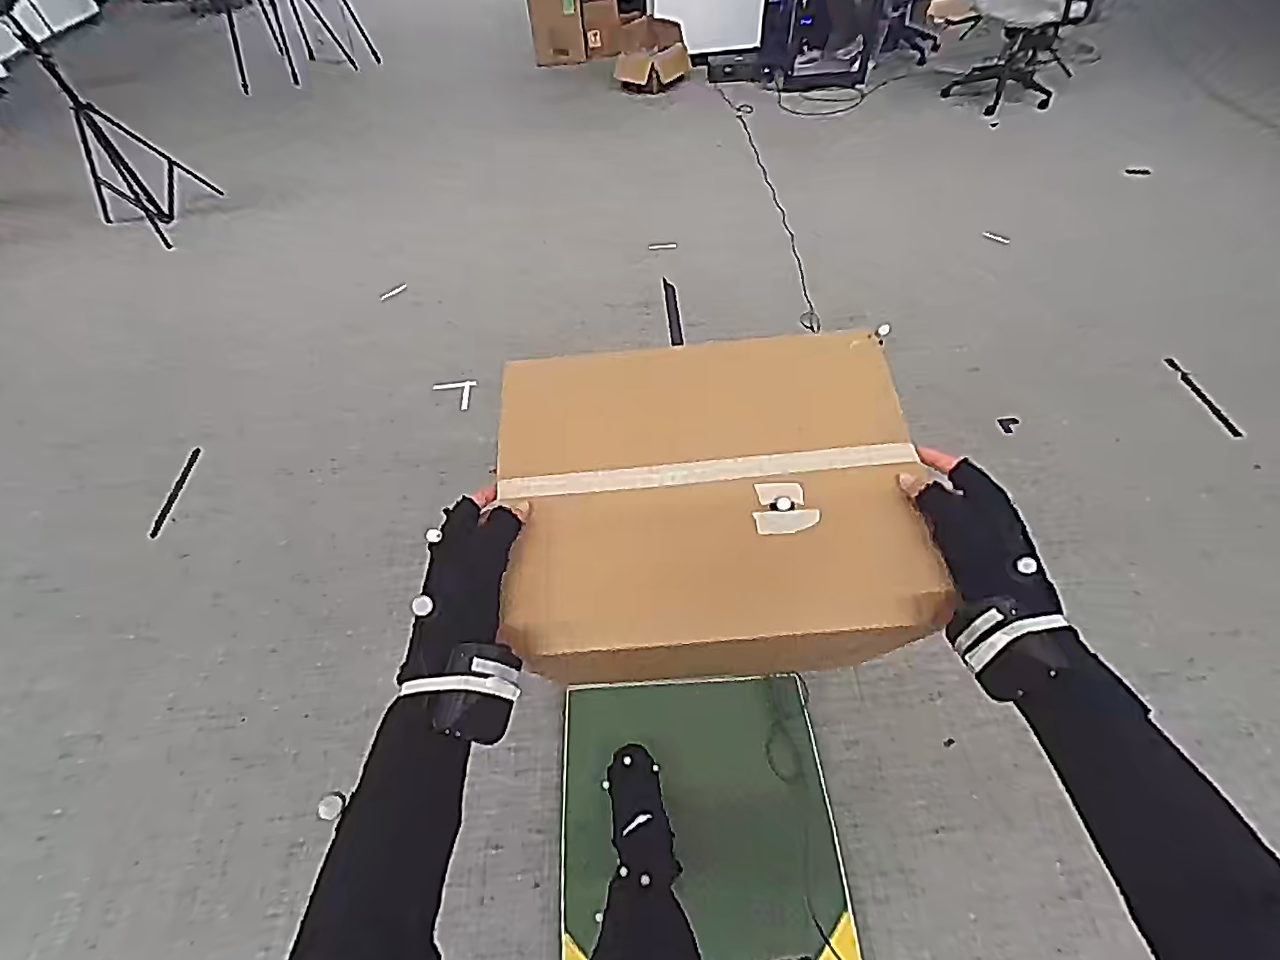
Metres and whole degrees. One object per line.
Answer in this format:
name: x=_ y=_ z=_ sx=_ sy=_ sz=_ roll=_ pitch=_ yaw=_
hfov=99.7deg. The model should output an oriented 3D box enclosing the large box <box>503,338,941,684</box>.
large box: x=0.066 y=0.062 z=0.678 sx=0.408 sy=0.320 sz=0.320 roll=-5 pitch=65 yaw=1
